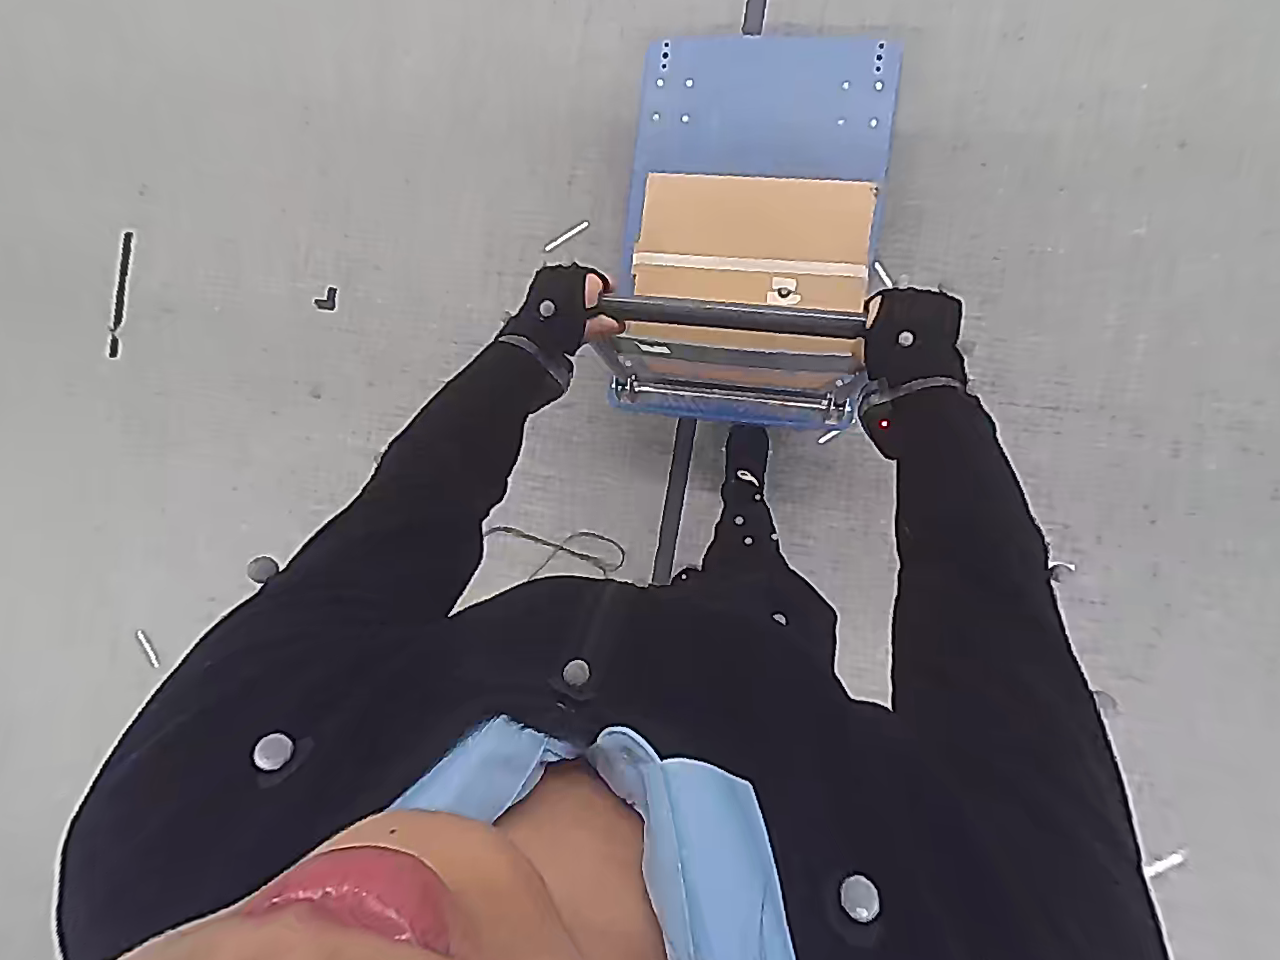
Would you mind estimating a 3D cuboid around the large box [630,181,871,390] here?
[{"bbox_3d":[0.207,-0.375,1.114,0.408,0.320,0.320,7,92,7],"label":"large box"}]
